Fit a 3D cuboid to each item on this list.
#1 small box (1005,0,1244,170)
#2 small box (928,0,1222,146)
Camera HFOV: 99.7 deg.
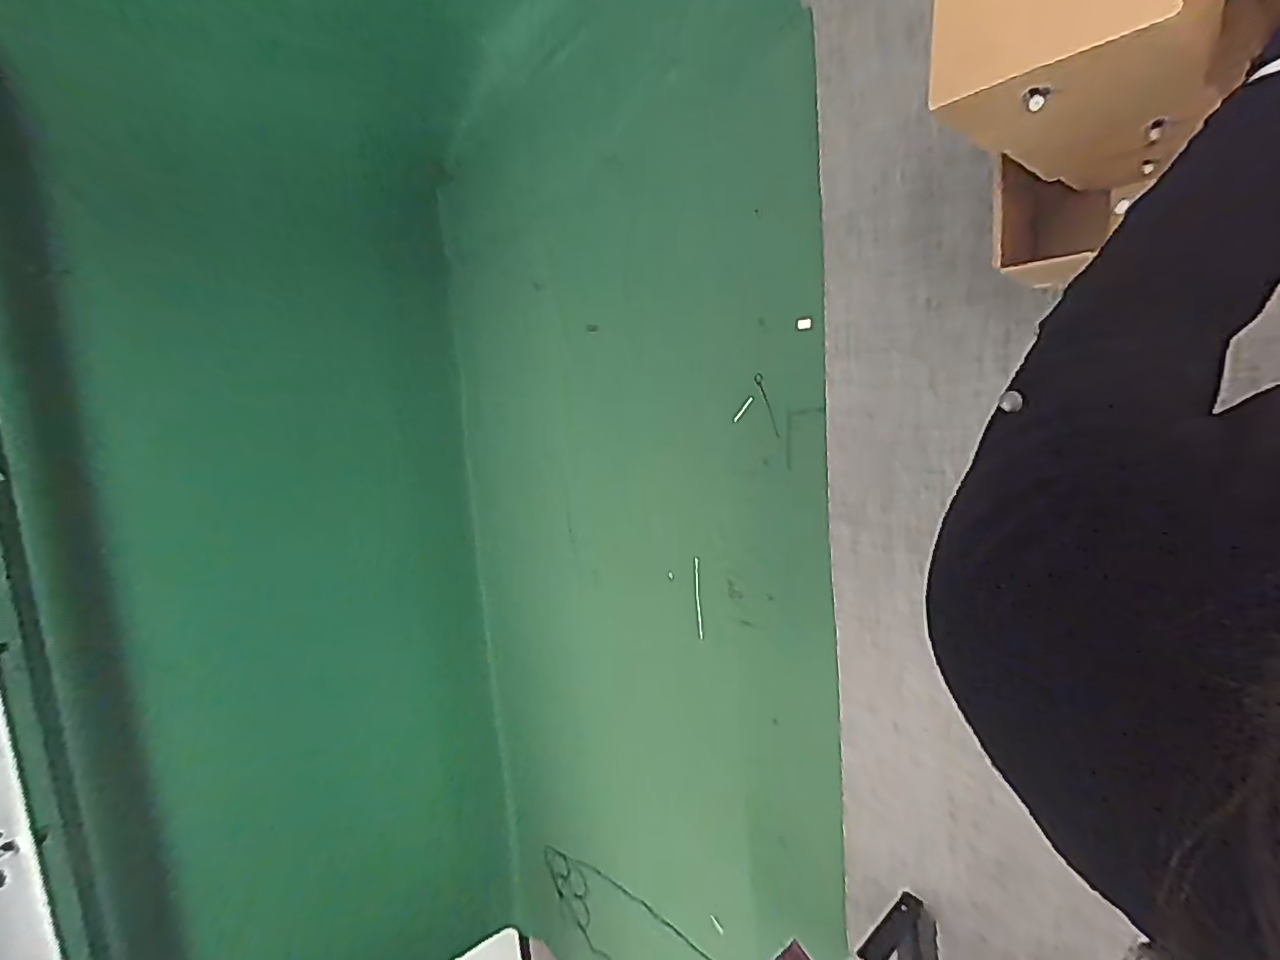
[{"bbox_3d":[0.525,-0.462,0.589,0.168,0.176,0.179,8,103,51],"label":"small box"},{"bbox_3d":[0.395,-0.433,0.492,0.179,0.176,0.168,12,108,50],"label":"small box"}]
